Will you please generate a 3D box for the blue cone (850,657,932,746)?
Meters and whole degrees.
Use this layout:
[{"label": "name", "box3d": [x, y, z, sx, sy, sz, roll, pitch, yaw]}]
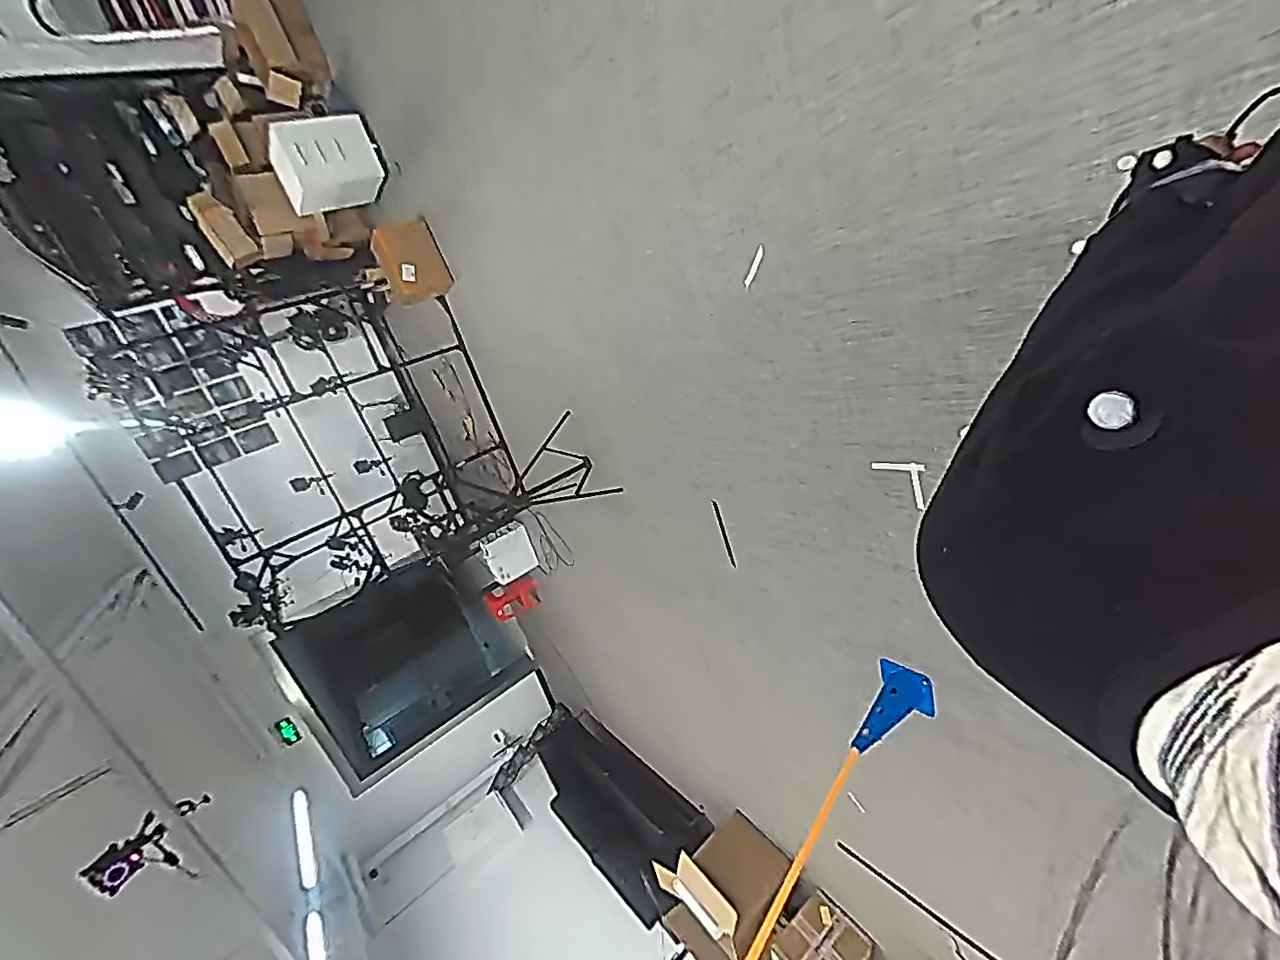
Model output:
[{"label": "blue cone", "box3d": [0.898, 0.853, 1.994, 0.193, 0.380, 0.192, 15, 128, 52]}]
